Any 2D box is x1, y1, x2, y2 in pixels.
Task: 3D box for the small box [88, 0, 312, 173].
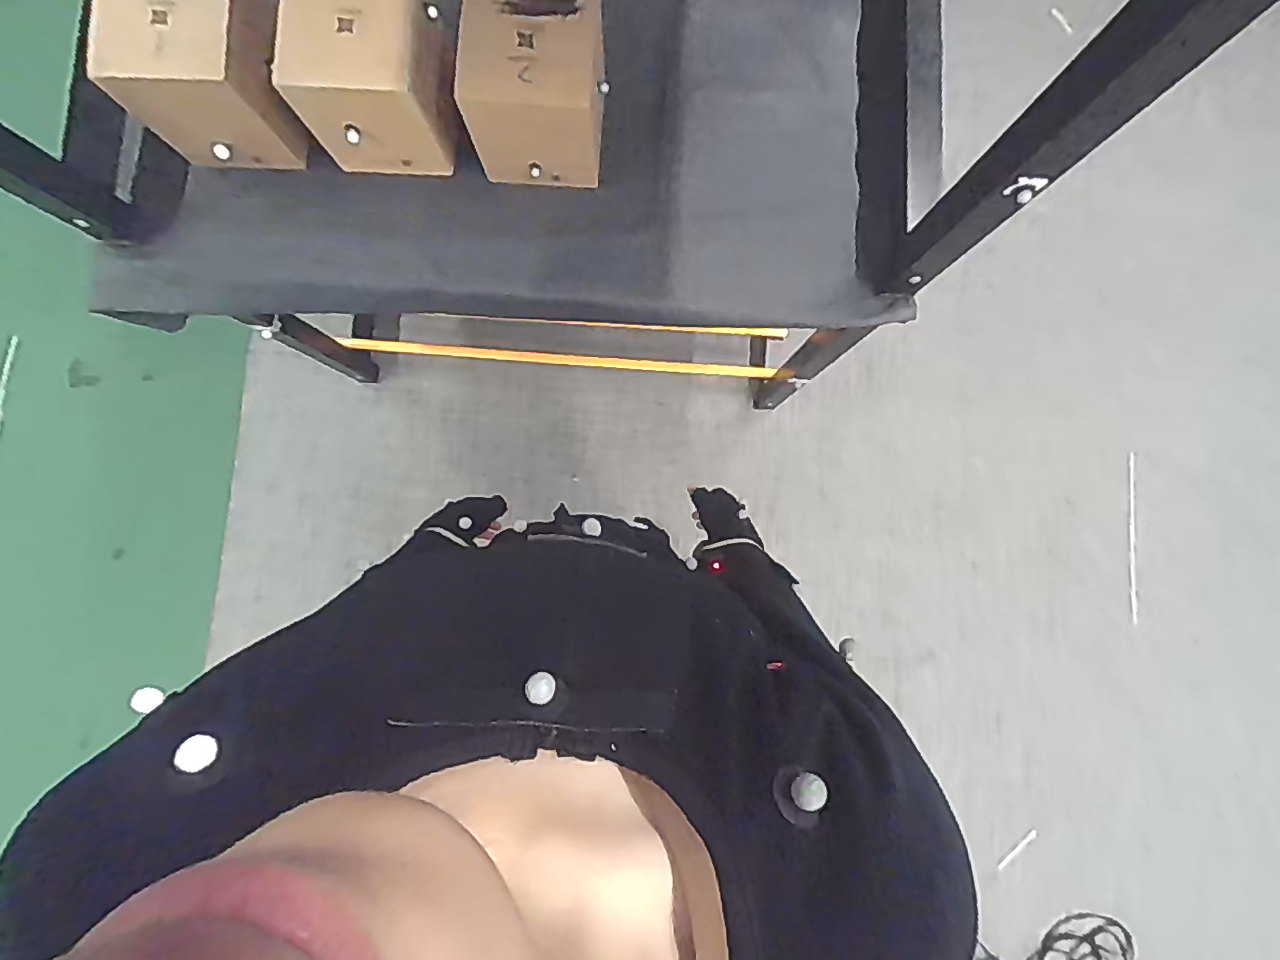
[{"bbox_3d":[-0.575,-0.555,0.733,0.168,0.176,0.179,1,86,-1],"label":"small box"}]
